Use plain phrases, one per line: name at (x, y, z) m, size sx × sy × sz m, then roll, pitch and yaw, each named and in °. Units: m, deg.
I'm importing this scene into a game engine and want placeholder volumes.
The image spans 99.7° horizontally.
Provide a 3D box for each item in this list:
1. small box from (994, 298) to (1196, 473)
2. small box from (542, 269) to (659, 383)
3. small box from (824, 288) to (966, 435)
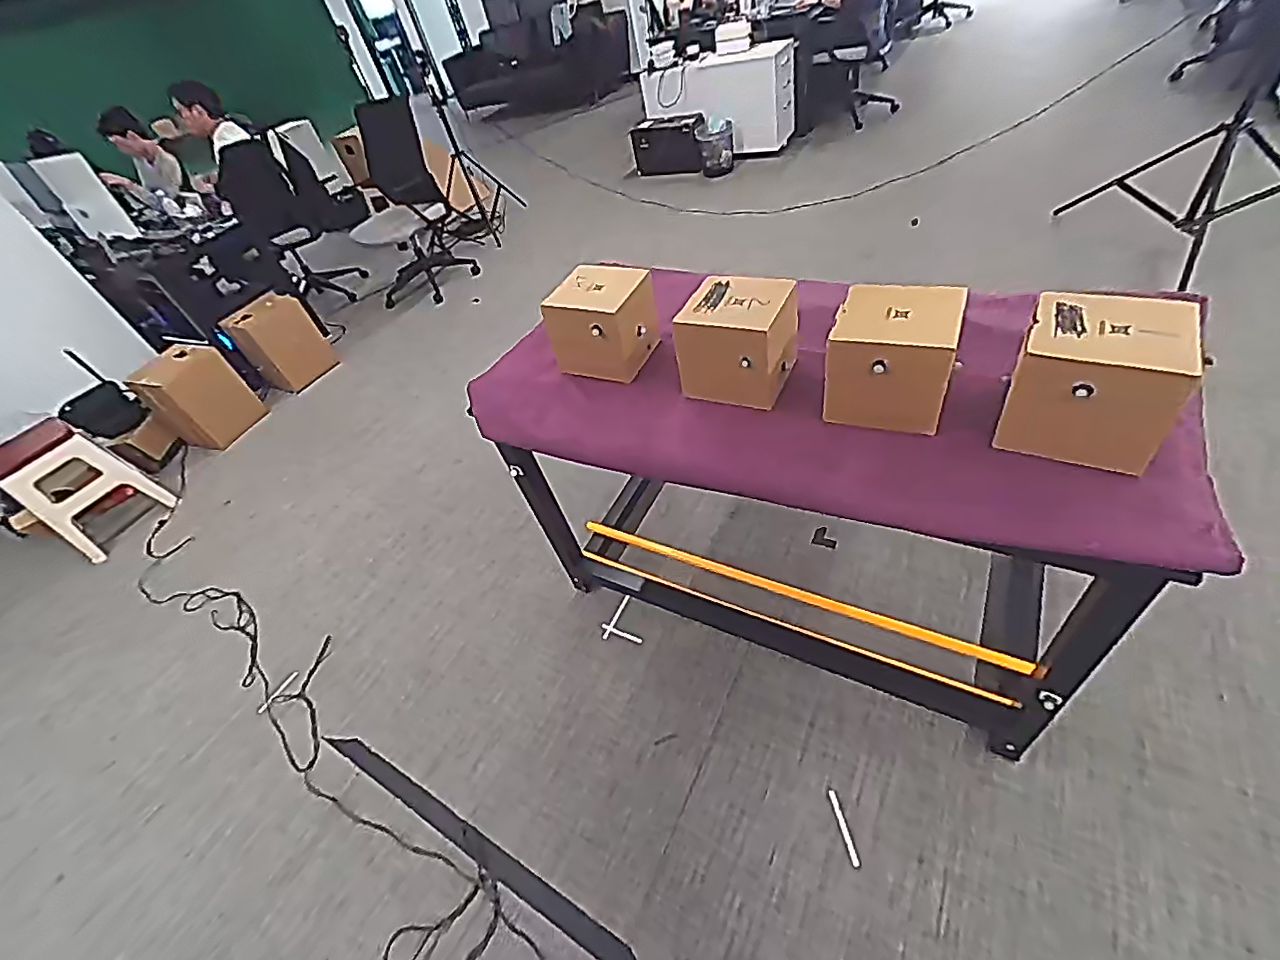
small box at (0.624, -0.133, 0.759) m, size 0.179 × 0.176 × 0.168 m, roll 18°, pitch 53°, yaw 30°
small box at (-0.074, -0.327, 1.153) m, size 0.179 × 0.176 × 0.168 m, roll 14°, pitch 52°, yaw 24°
small box at (0.411, -0.193, 0.887) m, size 0.179 × 0.176 × 0.168 m, roll 12°, pitch 51°, yaw 27°
